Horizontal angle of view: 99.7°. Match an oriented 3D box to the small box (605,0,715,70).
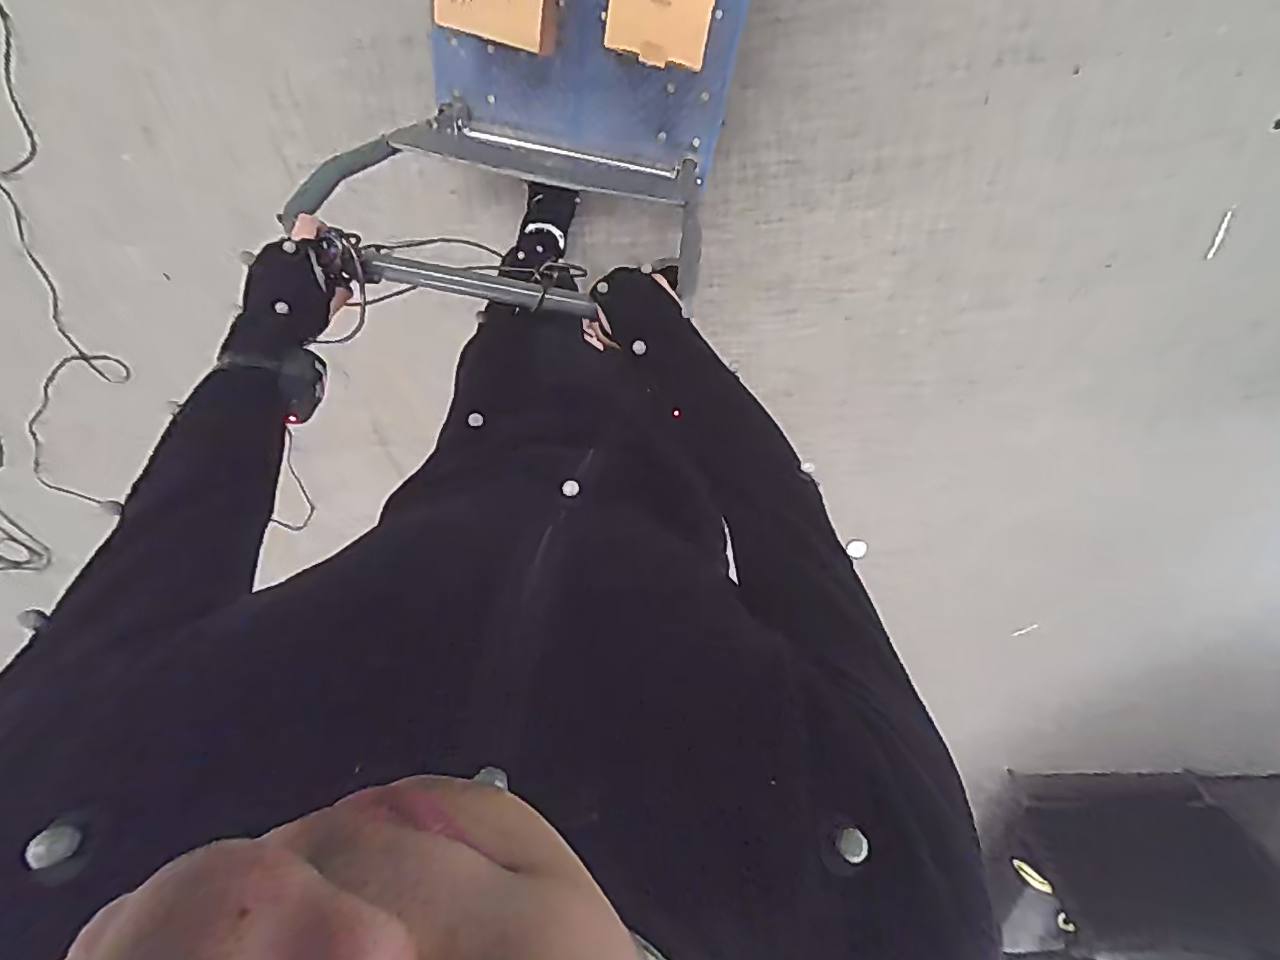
[{"bbox_3d":[0.041,-0.815,0.907,0.168,0.176,0.179,11,128,-4],"label":"small box"}]
